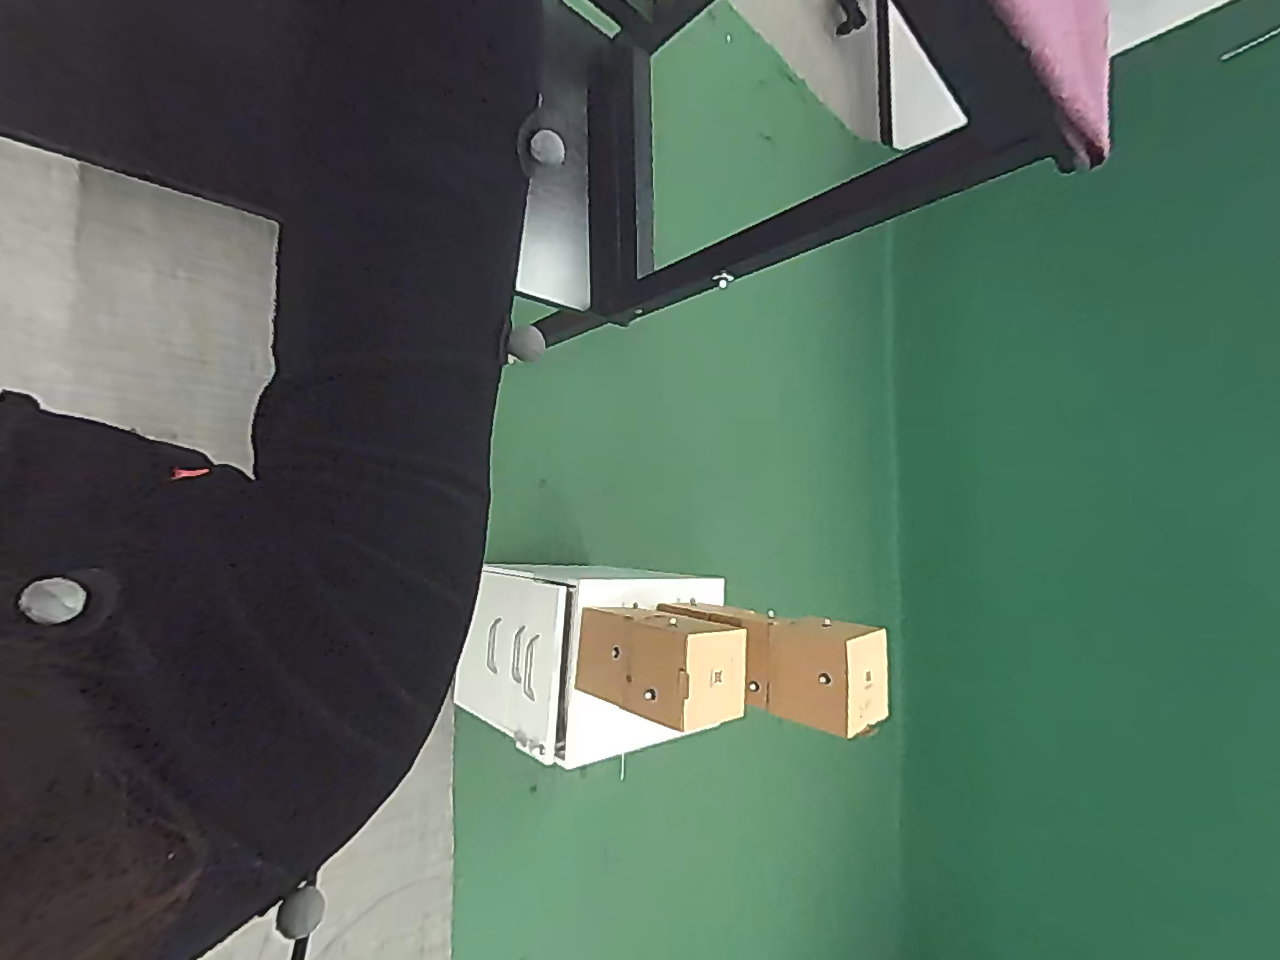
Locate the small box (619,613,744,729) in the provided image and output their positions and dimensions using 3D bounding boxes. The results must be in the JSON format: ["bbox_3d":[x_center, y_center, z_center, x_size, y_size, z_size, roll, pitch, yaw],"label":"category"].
[{"bbox_3d":[0.077,0.352,1.029,0.179,0.176,0.168,9,83,-44],"label":"small box"}]

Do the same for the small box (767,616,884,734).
[{"bbox_3d":[0.367,0.374,1.077,0.168,0.176,0.179,4,86,-42],"label":"small box"}]

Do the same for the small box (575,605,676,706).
[{"bbox_3d":[-0.022,0.365,1.158,0.168,0.176,0.179,13,80,-43],"label":"small box"}]

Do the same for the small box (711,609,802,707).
[{"bbox_3d":[0.258,0.384,1.200,0.168,0.176,0.179,14,80,-43],"label":"small box"}]
